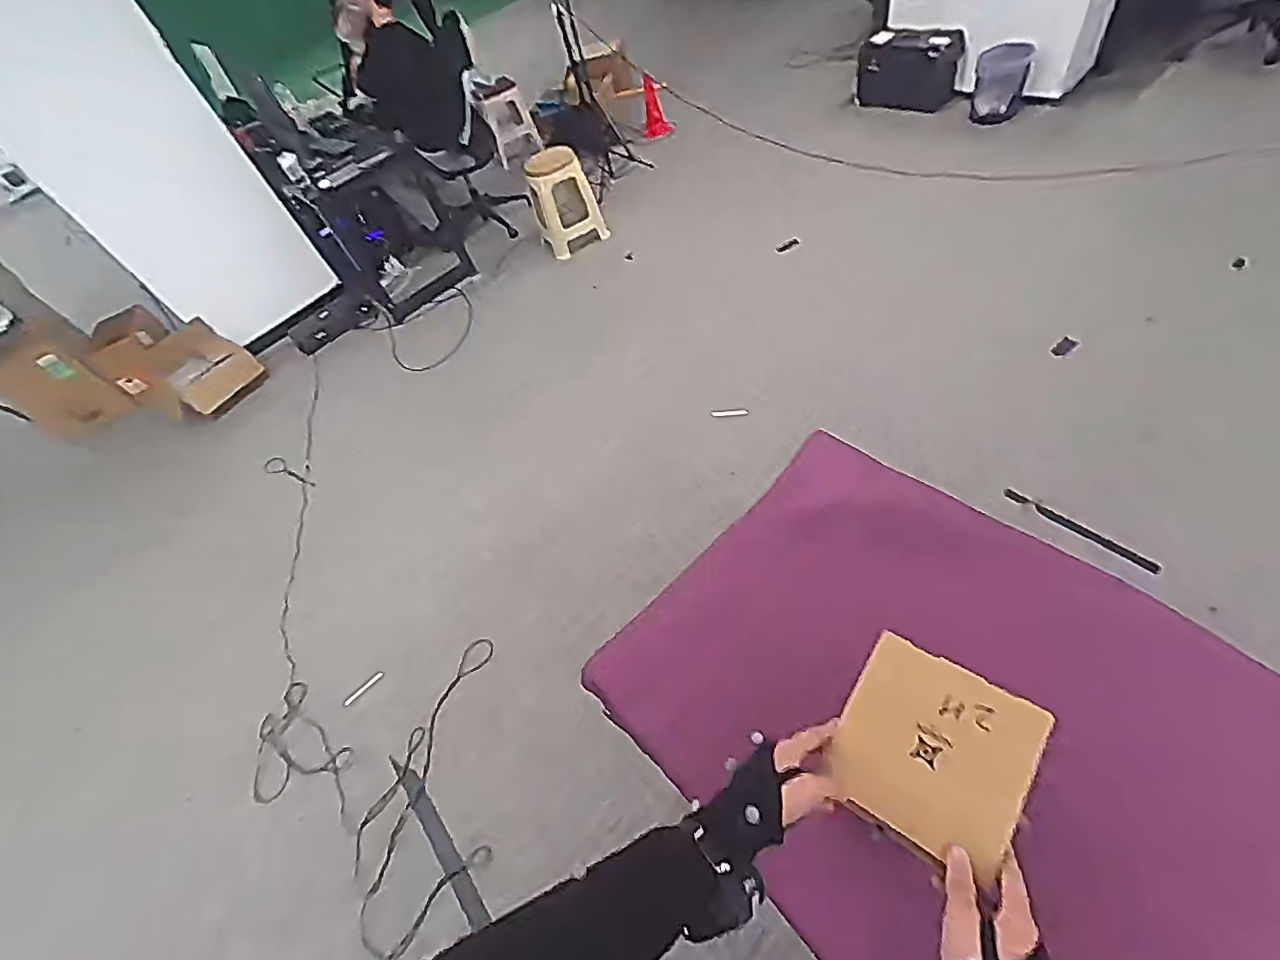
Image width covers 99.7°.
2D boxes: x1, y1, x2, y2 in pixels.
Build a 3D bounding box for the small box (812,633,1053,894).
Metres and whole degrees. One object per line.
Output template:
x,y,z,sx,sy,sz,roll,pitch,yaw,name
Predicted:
0.308,0.307,0.598,0.168,0.176,0.179,26,70,30,small box
